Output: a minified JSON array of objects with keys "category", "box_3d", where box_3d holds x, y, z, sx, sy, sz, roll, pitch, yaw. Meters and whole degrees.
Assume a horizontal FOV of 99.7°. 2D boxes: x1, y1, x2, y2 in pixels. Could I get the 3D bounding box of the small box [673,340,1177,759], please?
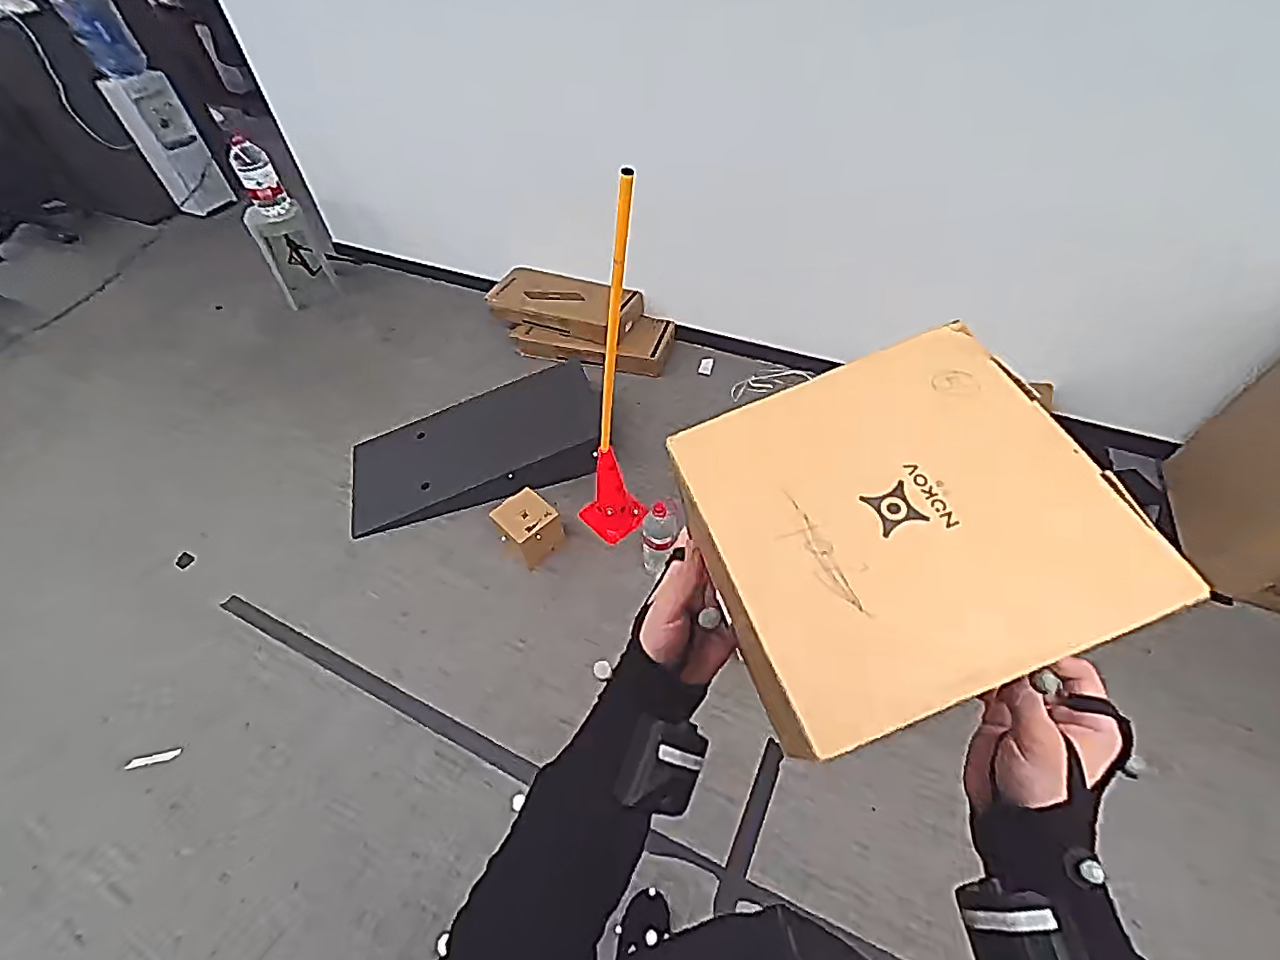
[{"category":"small box","box_3d":[0.135,0.053,0.334,0.179,0.176,0.168,-23,61,-2]}]
